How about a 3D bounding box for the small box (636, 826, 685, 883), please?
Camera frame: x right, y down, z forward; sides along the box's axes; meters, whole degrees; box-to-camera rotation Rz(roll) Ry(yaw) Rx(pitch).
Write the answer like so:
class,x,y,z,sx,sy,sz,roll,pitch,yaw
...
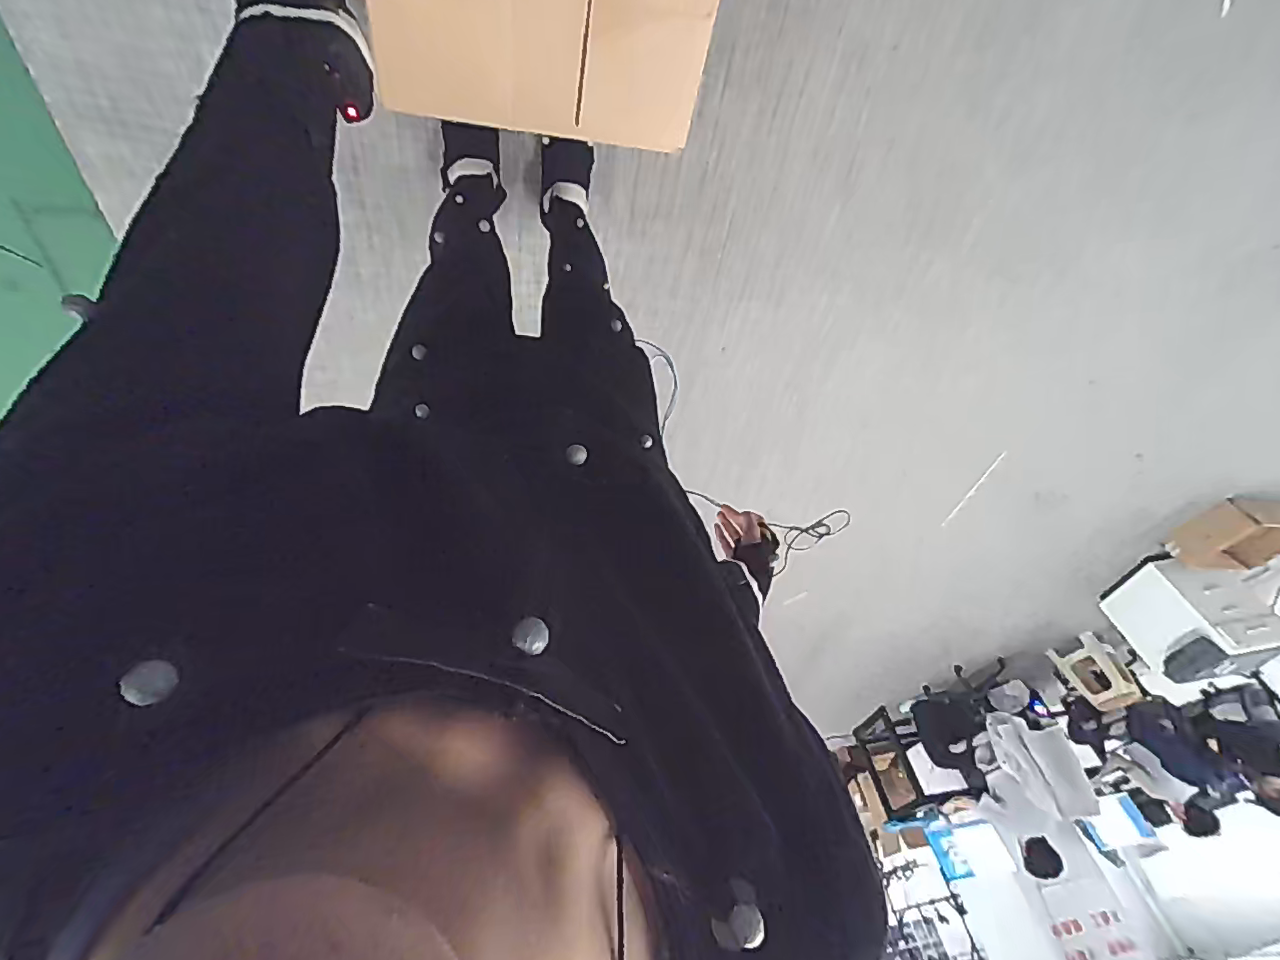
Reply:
class,x,y,z,sx,sy,sz,roll,pitch,yaw
small box,0.080,1.580,2.284,0.168,0.176,0.179,-2,138,-11
